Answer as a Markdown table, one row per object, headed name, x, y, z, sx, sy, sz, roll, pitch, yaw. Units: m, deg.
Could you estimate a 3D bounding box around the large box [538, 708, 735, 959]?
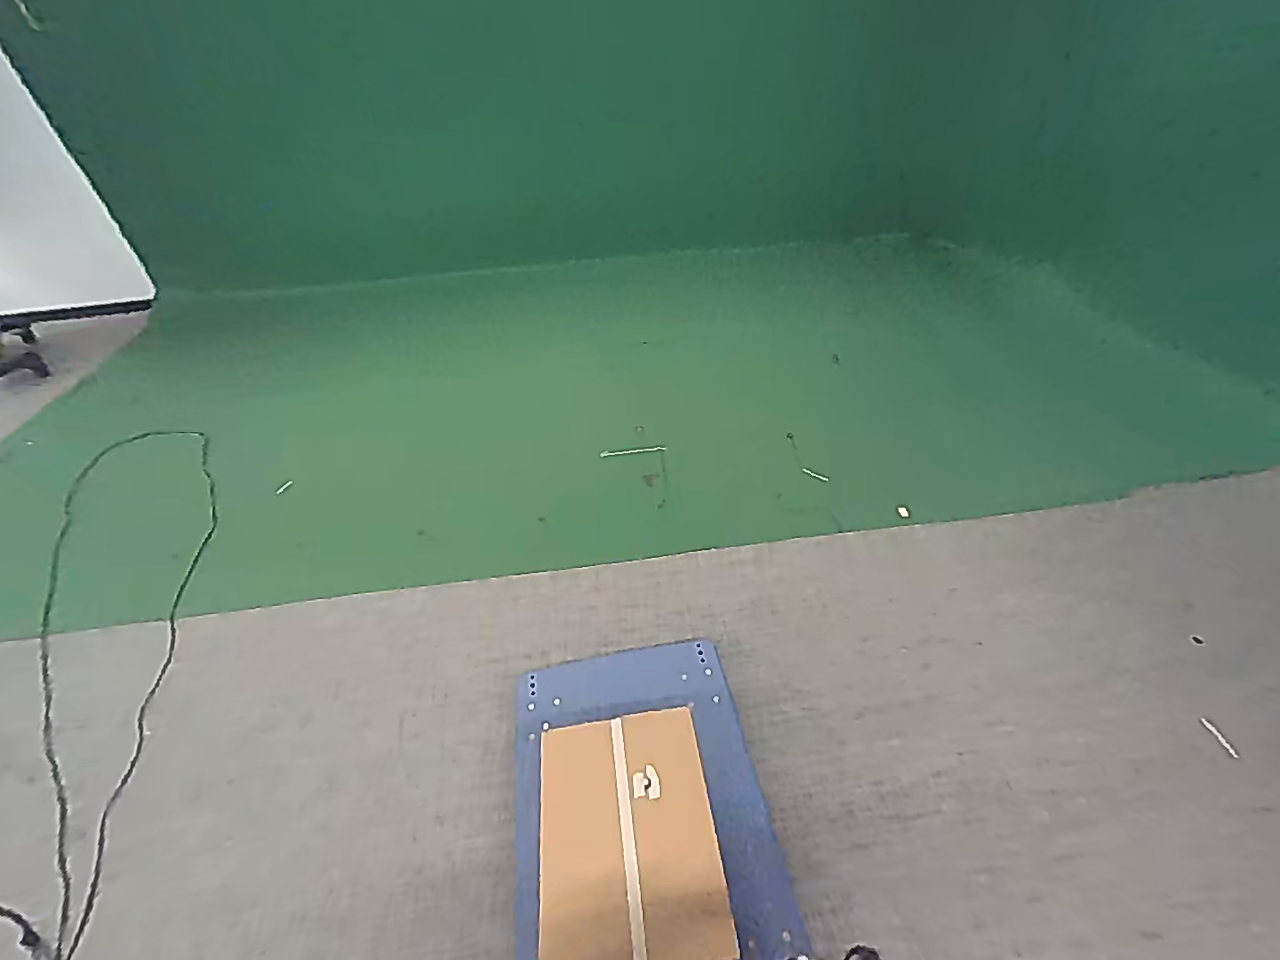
| name | x | y | z | sx | sy | sz | roll | pitch | yaw |
| --- | --- | --- | --- | --- | --- | --- | --- | --- | --- |
| large box | -0.016 | 0.739 | 1.074 | 0.320 | 0.320 | 0.408 | -8 | 41 | -3 |
